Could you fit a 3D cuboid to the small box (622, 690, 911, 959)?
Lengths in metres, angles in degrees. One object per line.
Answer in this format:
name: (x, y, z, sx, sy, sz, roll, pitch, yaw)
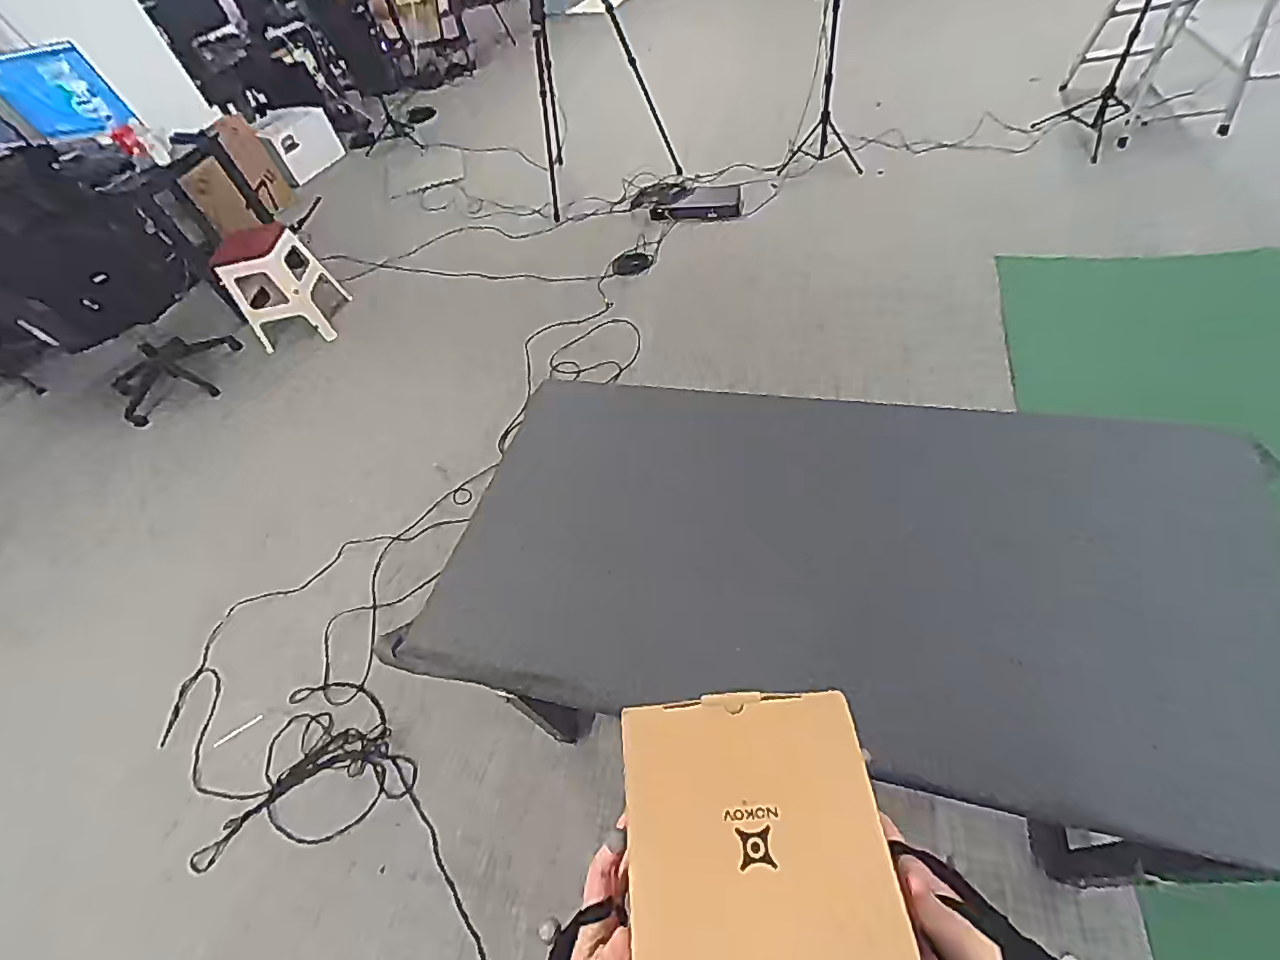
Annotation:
small box: (0.078, 0.280, 0.413, 0.168, 0.176, 0.179, -5, 50, 1)
